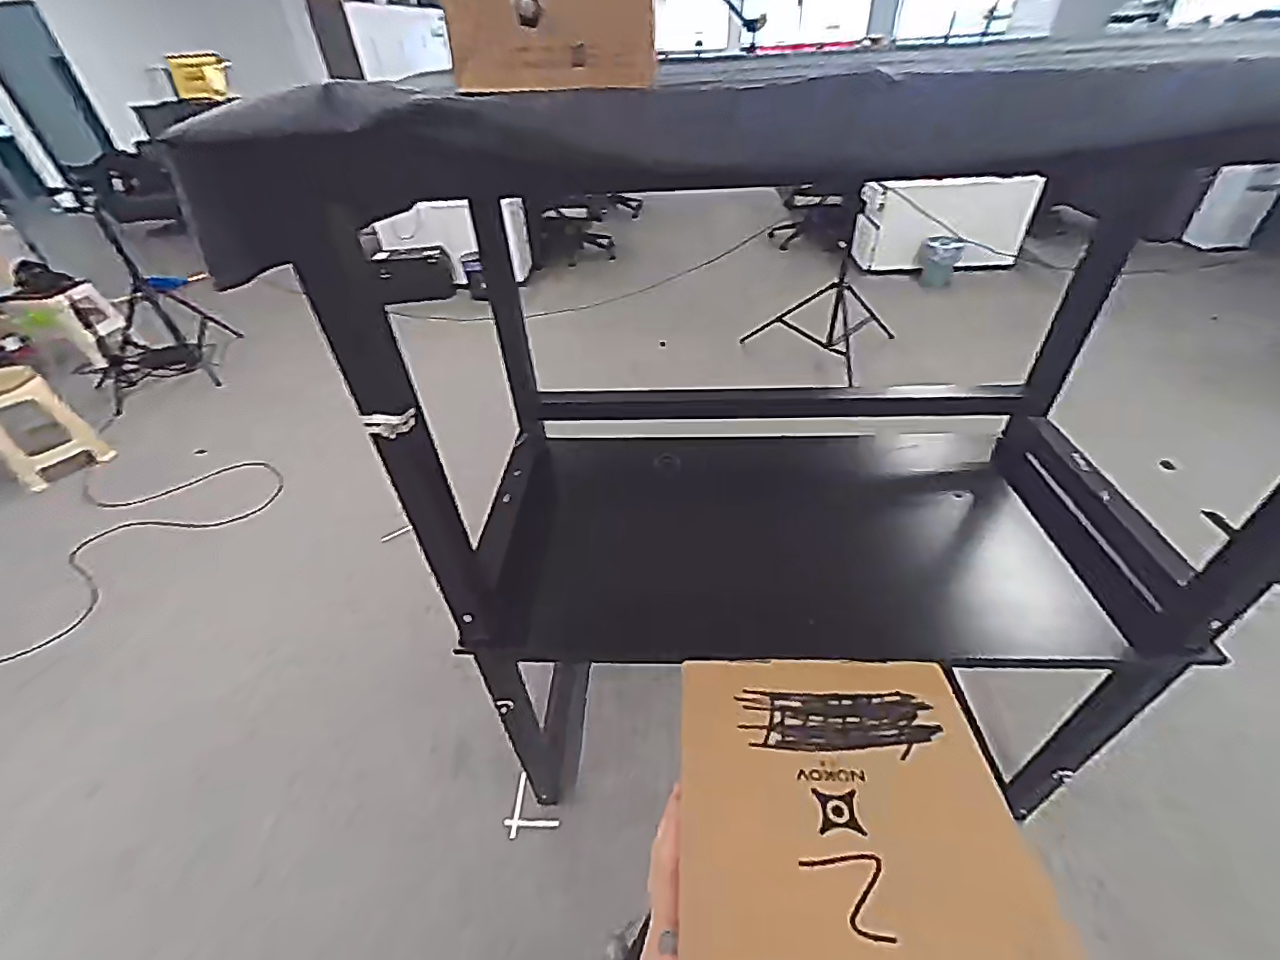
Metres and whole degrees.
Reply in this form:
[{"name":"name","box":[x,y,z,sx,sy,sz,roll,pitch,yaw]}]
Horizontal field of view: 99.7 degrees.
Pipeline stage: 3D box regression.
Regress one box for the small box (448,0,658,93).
[{"name":"small box","box":[-0.069,-0.438,0.459,0.168,0.176,0.179,0,39,2]}]
